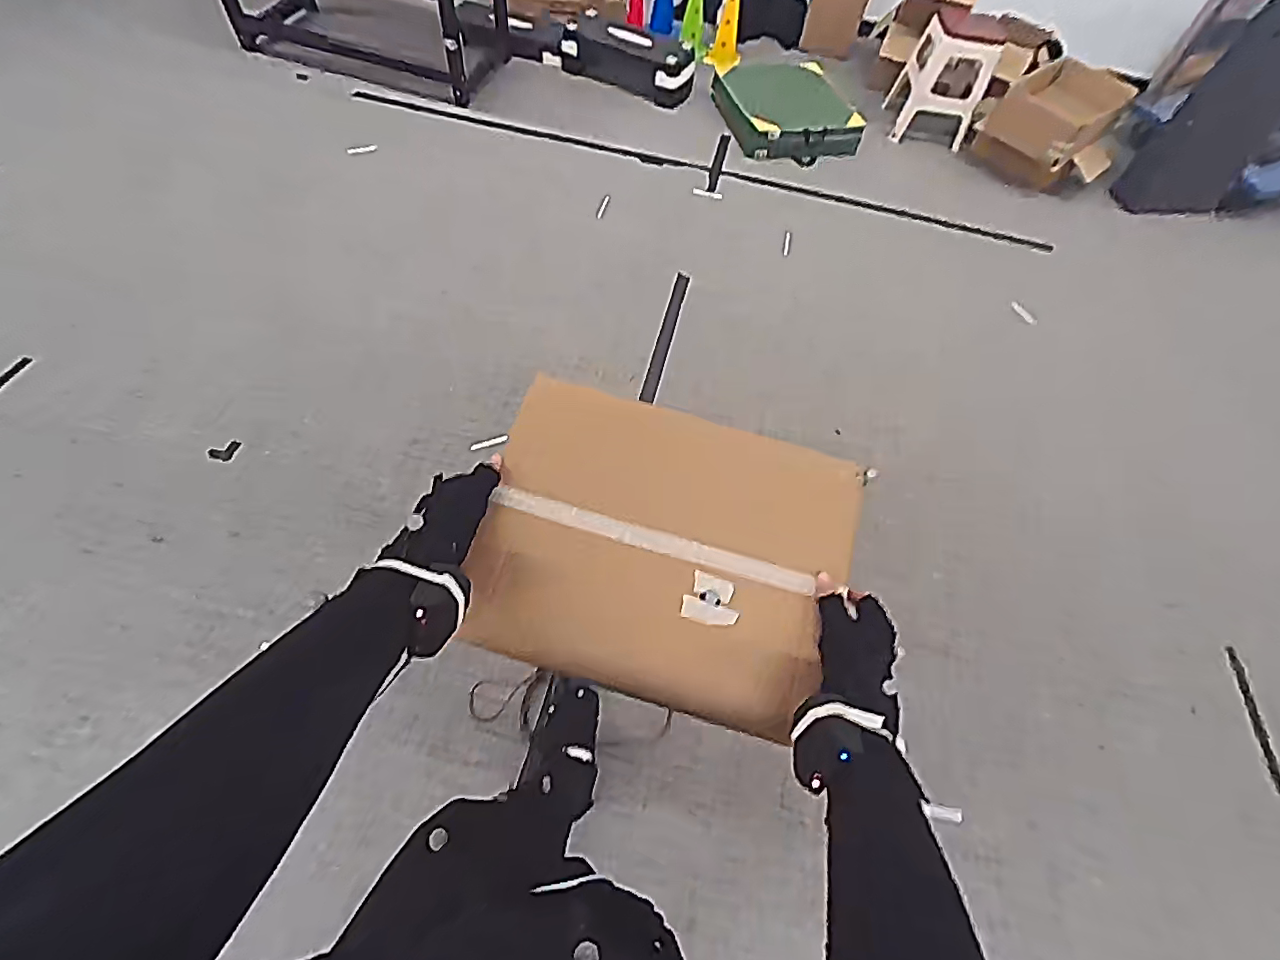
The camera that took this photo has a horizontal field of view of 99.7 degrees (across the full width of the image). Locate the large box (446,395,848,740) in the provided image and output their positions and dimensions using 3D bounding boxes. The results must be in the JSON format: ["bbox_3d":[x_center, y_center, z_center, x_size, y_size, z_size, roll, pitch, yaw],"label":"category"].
[{"bbox_3d":[0.014,0.132,0.750,0.408,0.320,0.320,16,70,3],"label":"large box"}]
